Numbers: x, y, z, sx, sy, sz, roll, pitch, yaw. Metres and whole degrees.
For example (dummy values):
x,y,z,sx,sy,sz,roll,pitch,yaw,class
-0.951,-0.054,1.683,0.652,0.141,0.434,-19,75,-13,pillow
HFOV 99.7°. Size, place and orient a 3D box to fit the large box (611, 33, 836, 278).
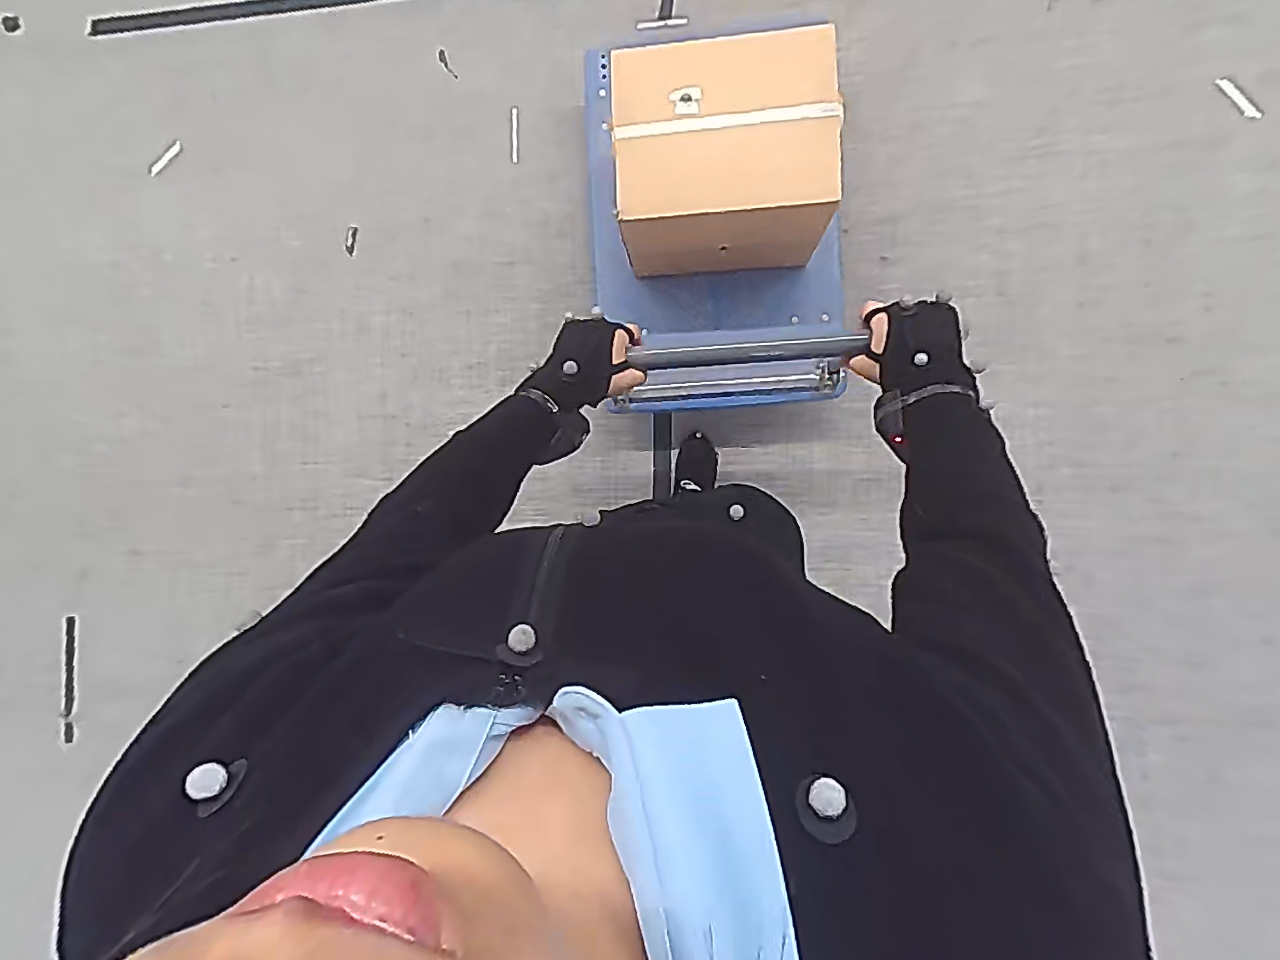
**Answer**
x,y,z,sx,sy,sz,roll,pitch,yaw,class
0.169,-0.648,1.147,0.408,0.320,0.320,-3,90,7,large box
